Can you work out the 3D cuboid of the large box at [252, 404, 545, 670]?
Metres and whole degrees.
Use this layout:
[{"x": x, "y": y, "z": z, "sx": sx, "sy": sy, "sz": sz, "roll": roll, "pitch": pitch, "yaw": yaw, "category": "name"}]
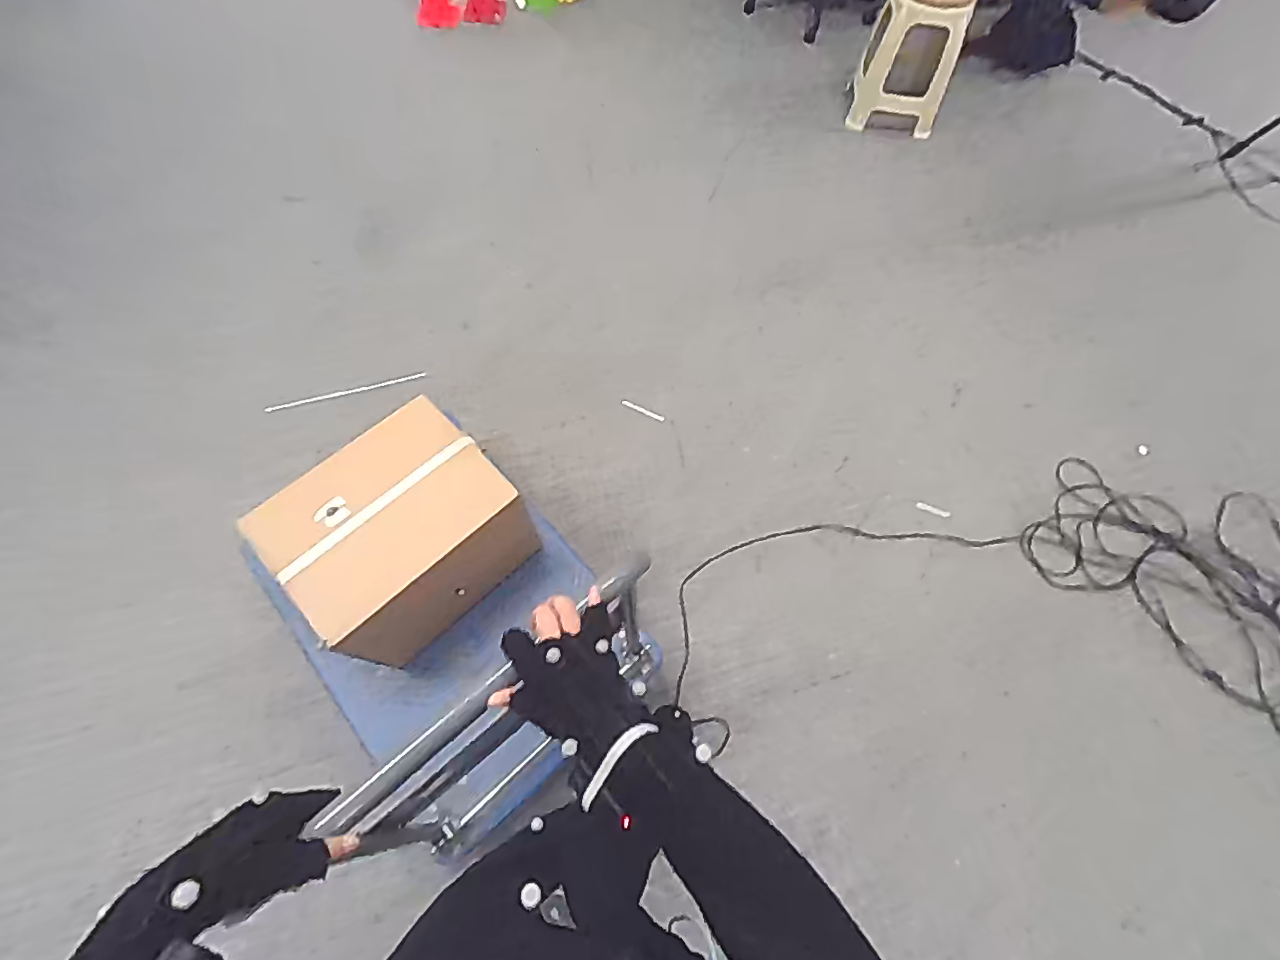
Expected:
[{"x": -0.460, "y": 0.128, "z": 1.129, "sx": 0.320, "sy": 0.320, "sz": 0.408, "roll": 42, "pitch": 71, "yaw": 17, "category": "large box"}]
